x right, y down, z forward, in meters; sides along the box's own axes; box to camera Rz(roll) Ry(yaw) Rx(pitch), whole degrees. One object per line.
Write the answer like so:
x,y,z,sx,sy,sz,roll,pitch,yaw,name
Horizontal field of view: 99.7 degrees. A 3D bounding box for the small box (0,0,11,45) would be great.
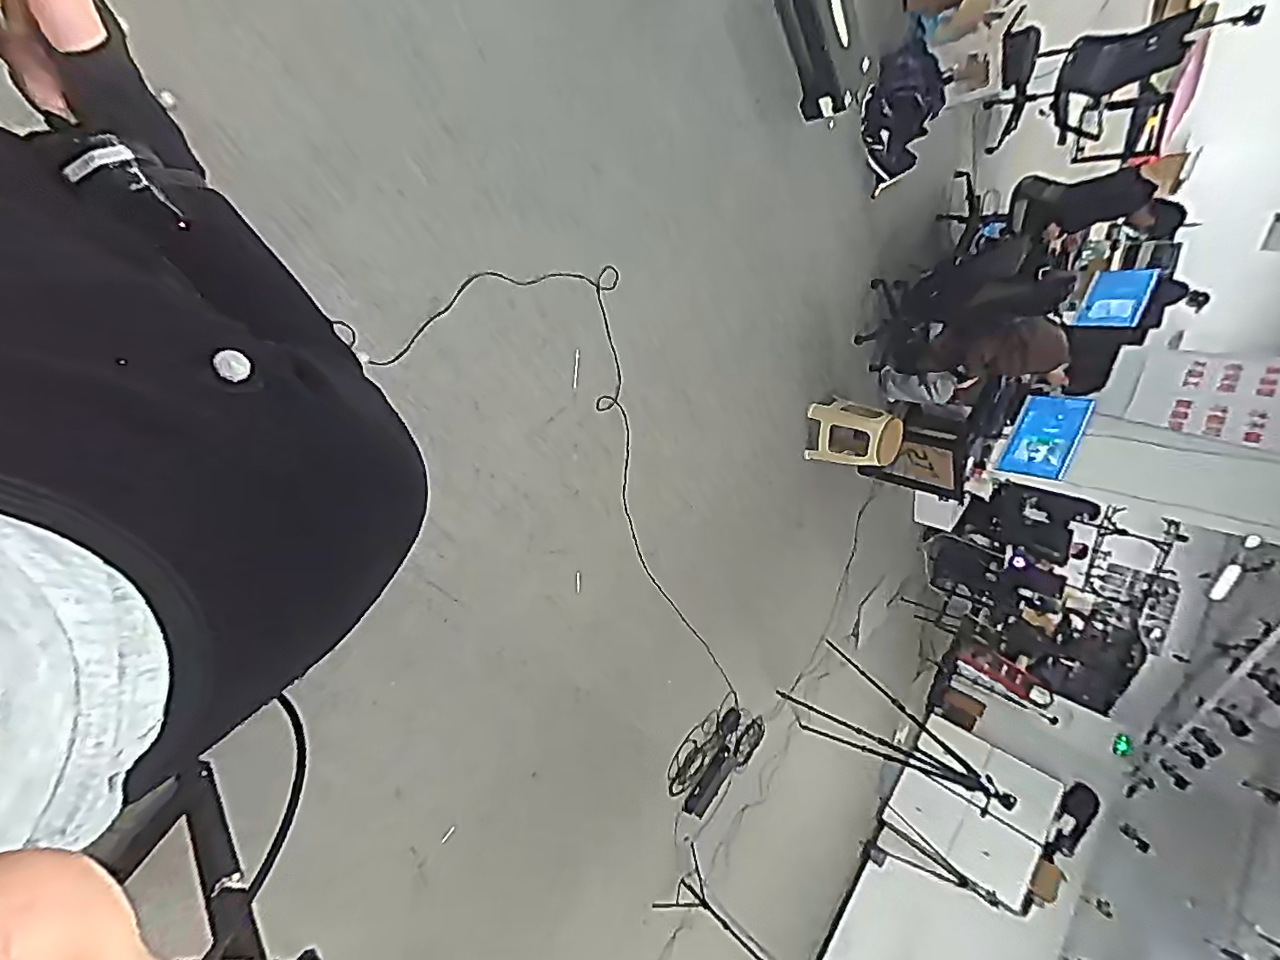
-0.439,-0.330,0.248,0.179,0.176,0.168,-13,118,-42,small box
